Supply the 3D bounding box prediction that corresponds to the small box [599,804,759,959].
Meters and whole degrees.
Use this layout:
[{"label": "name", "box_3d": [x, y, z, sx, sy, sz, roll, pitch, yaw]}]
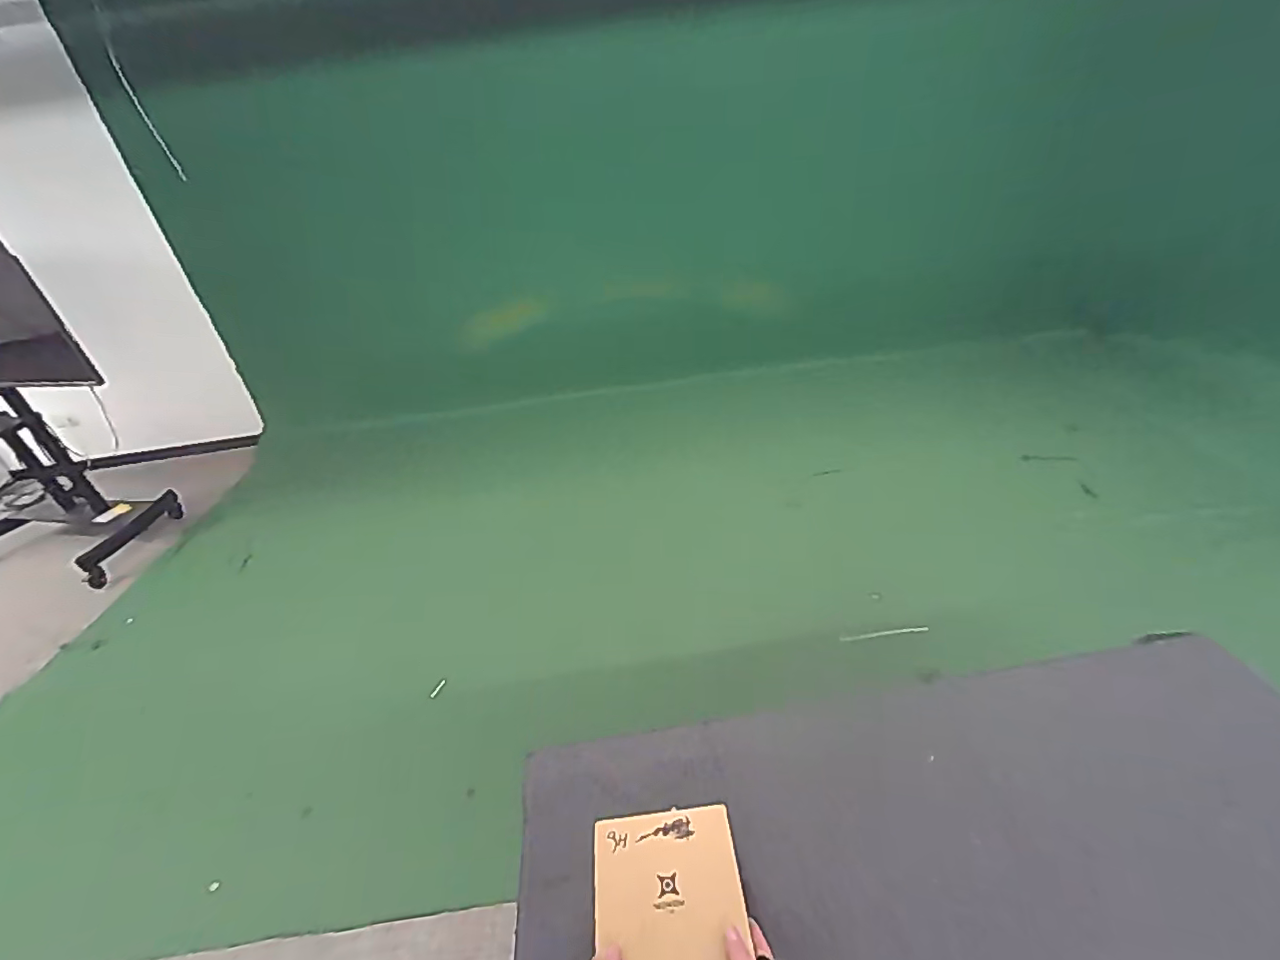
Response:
[{"label": "small box", "box_3d": [0.045, 0.524, 0.641, 0.168, 0.176, 0.179, -7, 33, -1]}]
